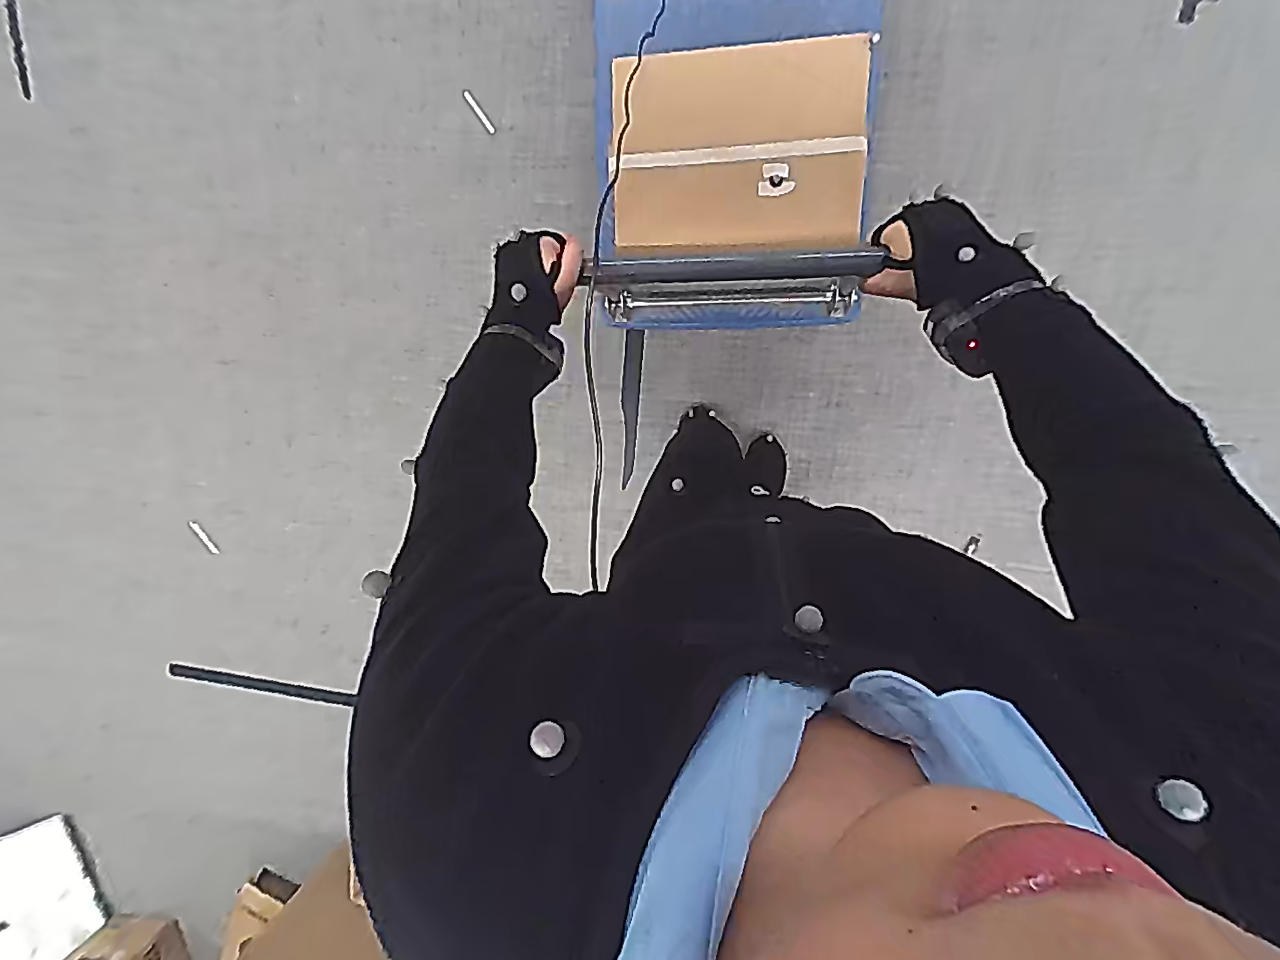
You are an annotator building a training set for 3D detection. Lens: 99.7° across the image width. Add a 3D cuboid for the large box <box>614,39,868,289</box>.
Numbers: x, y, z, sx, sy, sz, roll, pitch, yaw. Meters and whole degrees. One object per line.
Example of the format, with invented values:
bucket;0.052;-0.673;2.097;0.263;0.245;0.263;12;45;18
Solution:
large box;0.175;-0.552;1.025;0.408;0.320;0.320;1;102;8
